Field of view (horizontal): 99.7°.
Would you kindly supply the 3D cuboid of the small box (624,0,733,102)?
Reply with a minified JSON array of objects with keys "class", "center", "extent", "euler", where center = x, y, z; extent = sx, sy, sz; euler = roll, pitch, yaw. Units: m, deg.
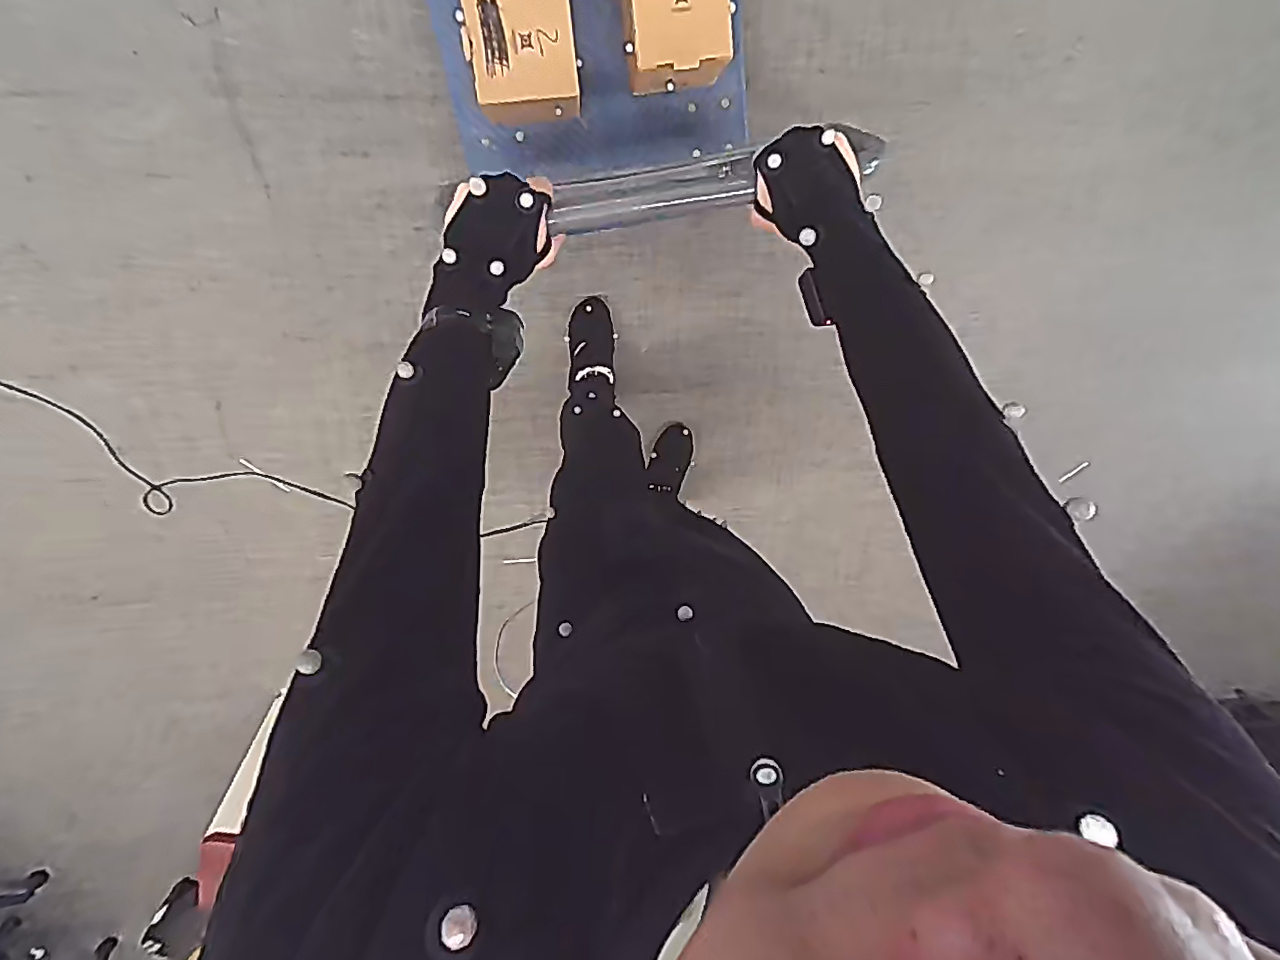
[{"class":"small box","center":[0.065,-0.822,0.984],"extent":[0.168,0.176,0.179],"euler":[-9,114,-1]}]
